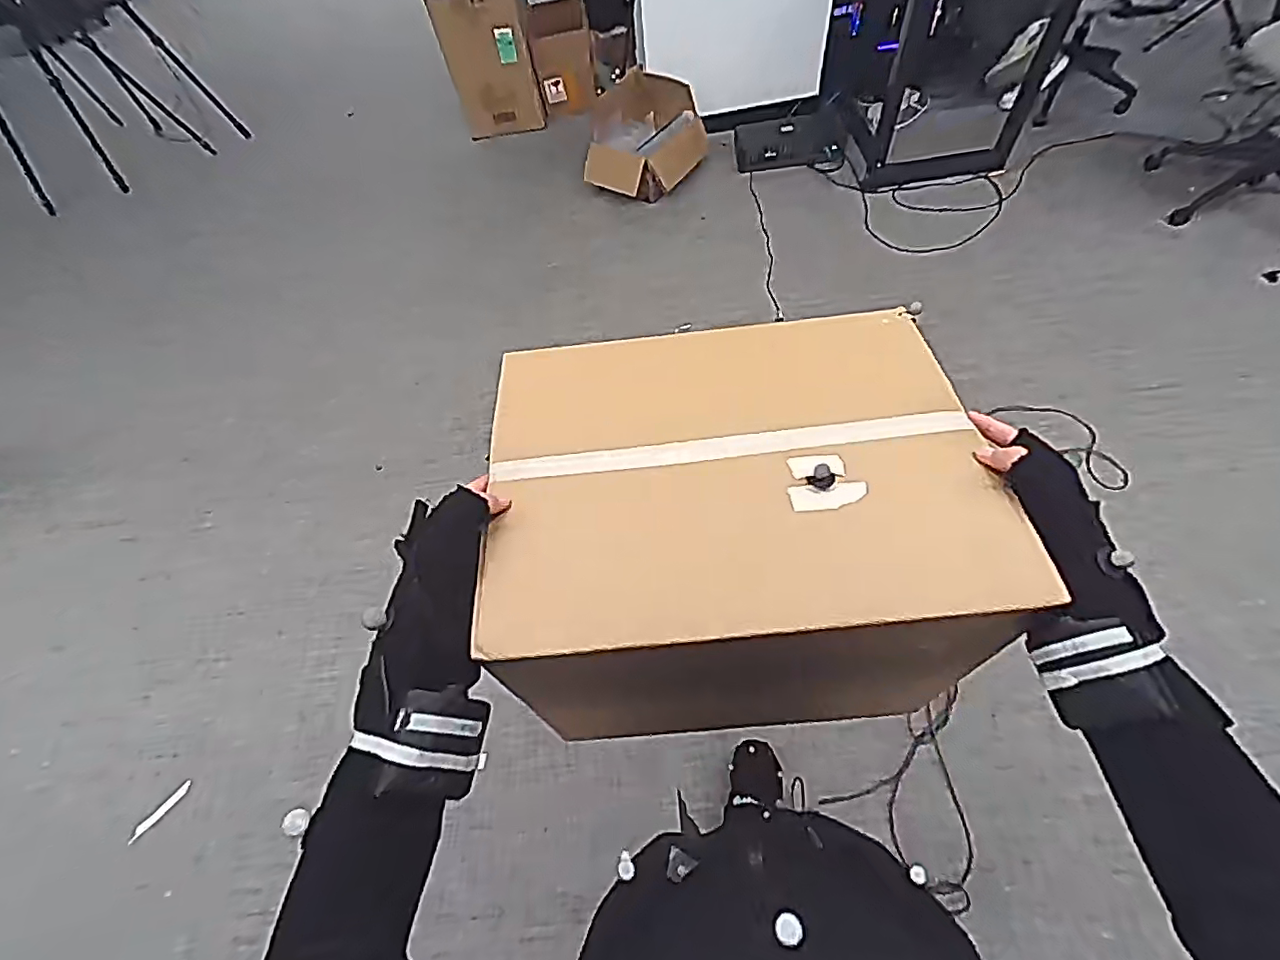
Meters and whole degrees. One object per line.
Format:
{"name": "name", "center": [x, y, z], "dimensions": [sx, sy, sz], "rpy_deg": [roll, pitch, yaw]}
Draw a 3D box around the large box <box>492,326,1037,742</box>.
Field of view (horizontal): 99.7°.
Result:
{"name": "large box", "center": [0.087, 0.072, 0.593], "dimensions": [0.408, 0.320, 0.320], "rpy_deg": [-6, 54, 2]}
